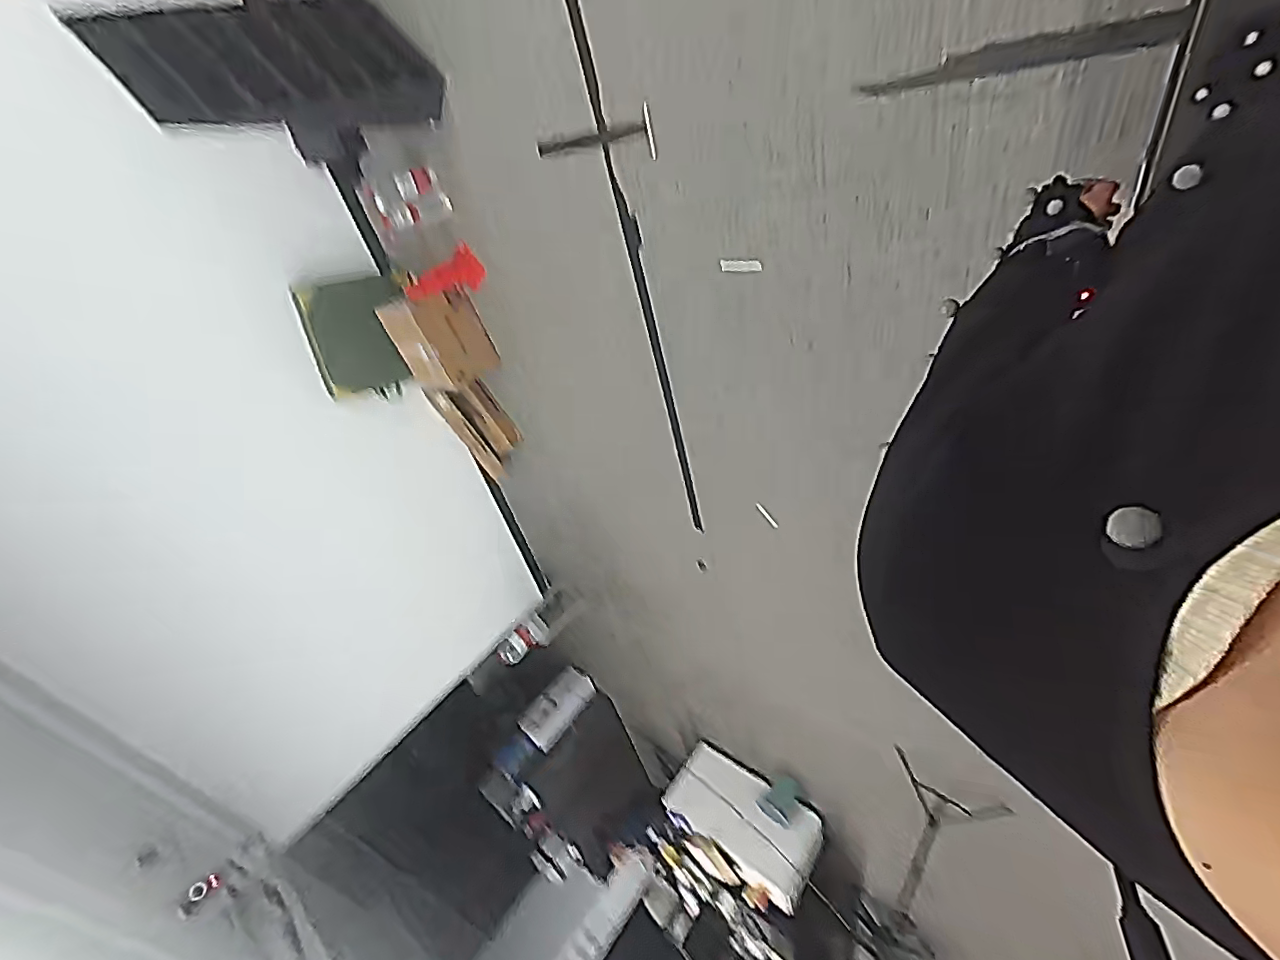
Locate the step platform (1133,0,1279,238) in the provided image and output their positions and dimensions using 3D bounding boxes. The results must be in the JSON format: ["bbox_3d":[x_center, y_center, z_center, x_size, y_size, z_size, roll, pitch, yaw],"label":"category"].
[{"bbox_3d":[0.999,-0.714,0.761,0.286,0.204,0.684,21,137,35],"label":"step platform"}]
